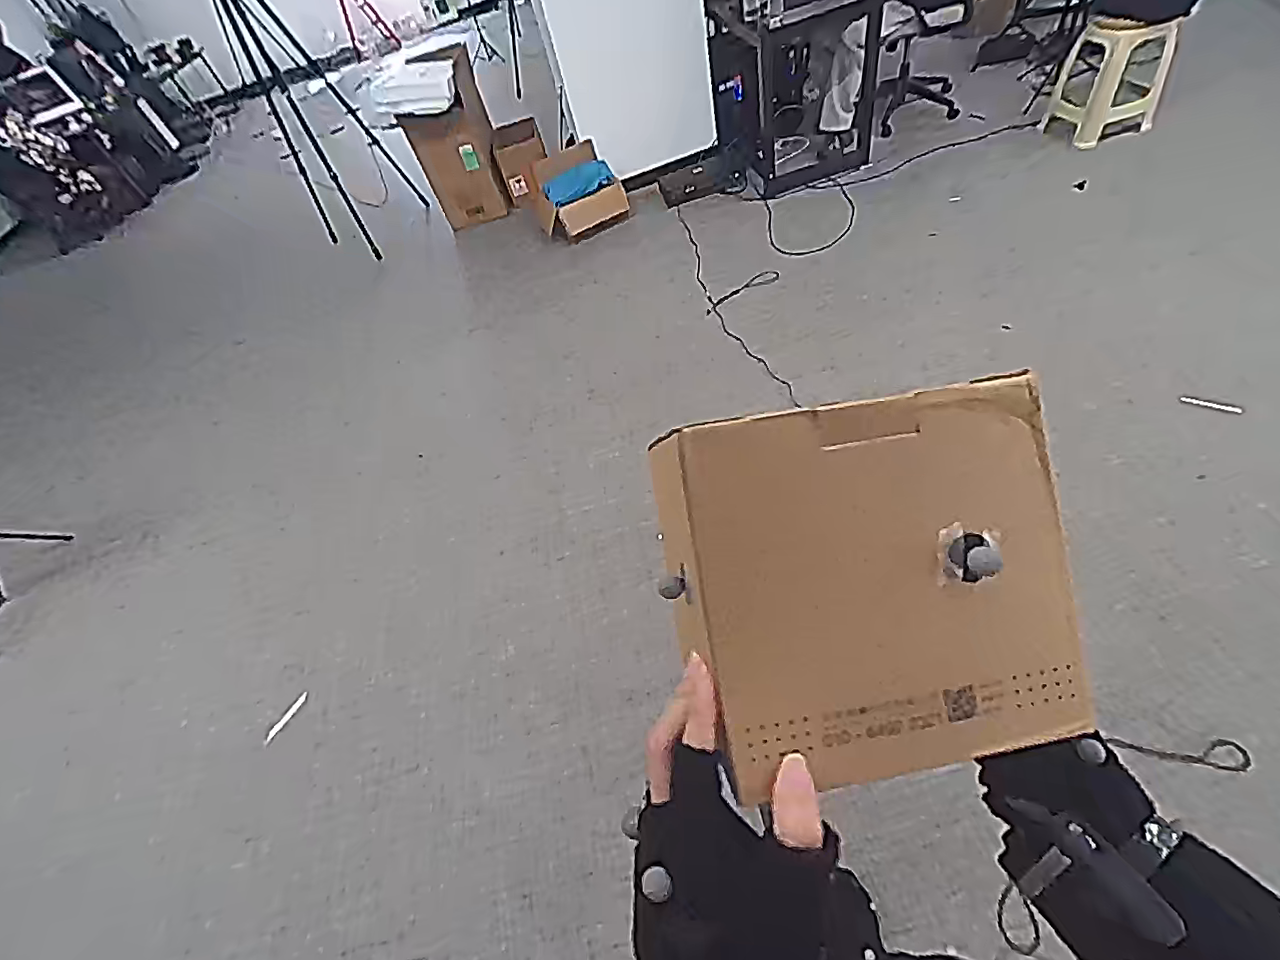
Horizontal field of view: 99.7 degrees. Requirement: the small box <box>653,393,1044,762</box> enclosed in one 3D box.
[{"bbox_3d":[0.106,0.053,0.338,0.168,0.179,0.176,-9,91,-2],"label":"small box"}]
